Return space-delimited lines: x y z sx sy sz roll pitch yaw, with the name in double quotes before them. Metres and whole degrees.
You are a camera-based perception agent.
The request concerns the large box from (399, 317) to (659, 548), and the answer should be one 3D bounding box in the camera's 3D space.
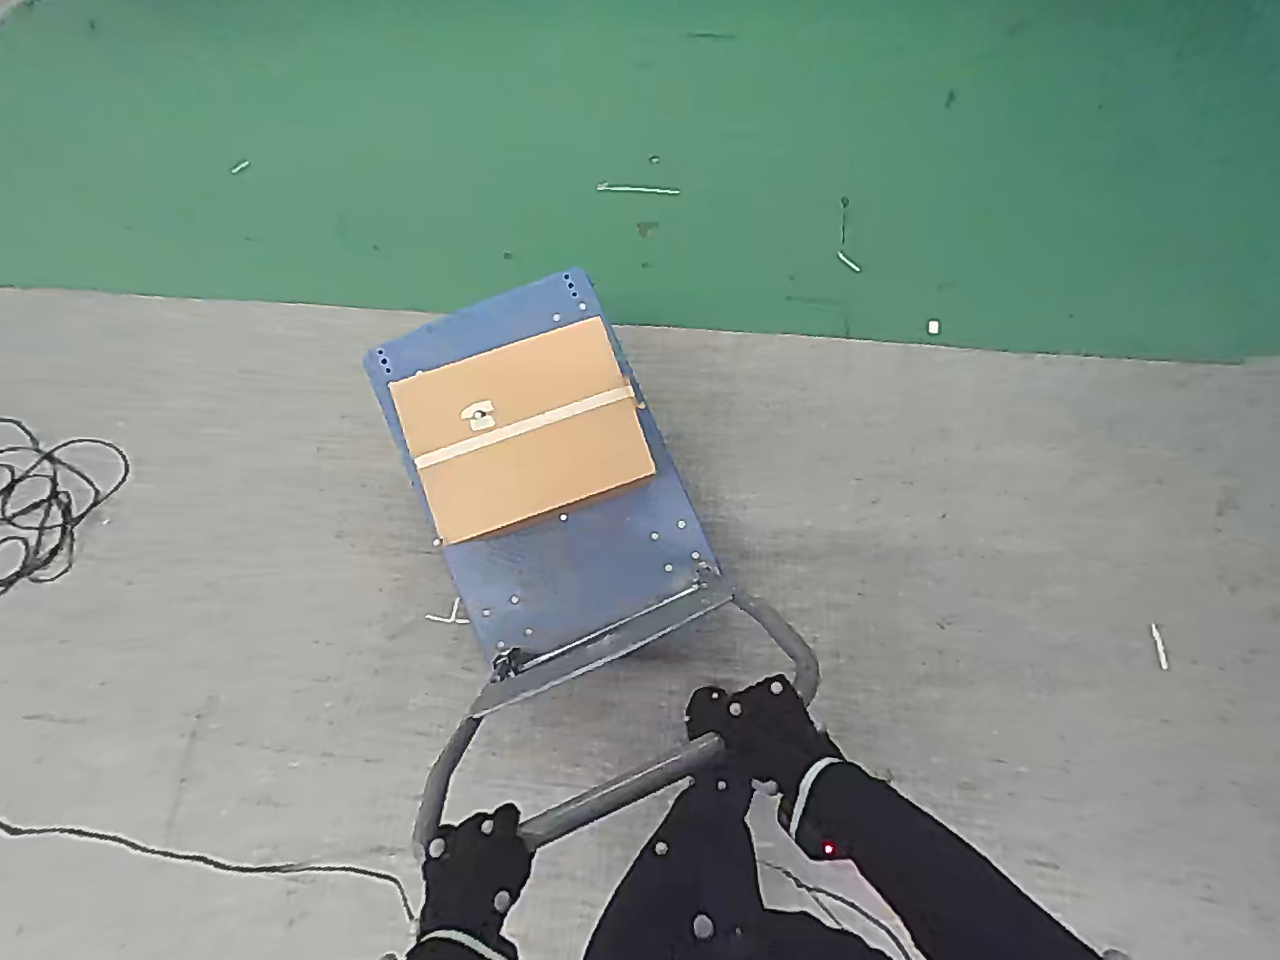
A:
"large box" -0.203 -0.082 1.127 0.408 0.320 0.320 -20 86 -2
